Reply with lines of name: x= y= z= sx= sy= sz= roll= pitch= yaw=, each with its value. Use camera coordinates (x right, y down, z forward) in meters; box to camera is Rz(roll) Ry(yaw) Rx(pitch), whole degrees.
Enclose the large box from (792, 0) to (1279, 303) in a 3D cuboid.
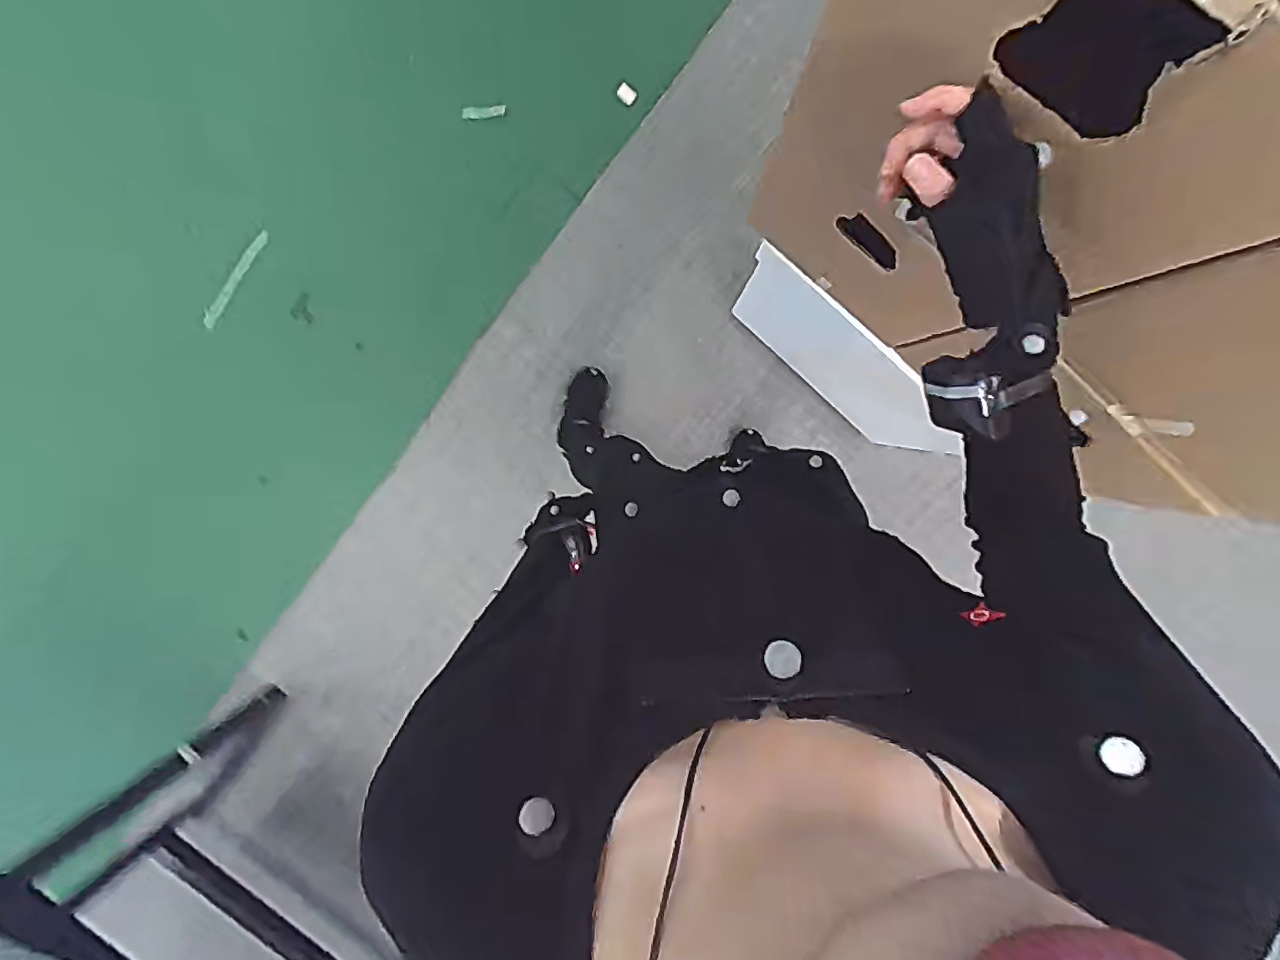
large box: x=0.366 y=-0.400 z=0.357 sx=0.320 sy=0.320 sz=0.408 roll=37 pitch=96 yaw=-1
